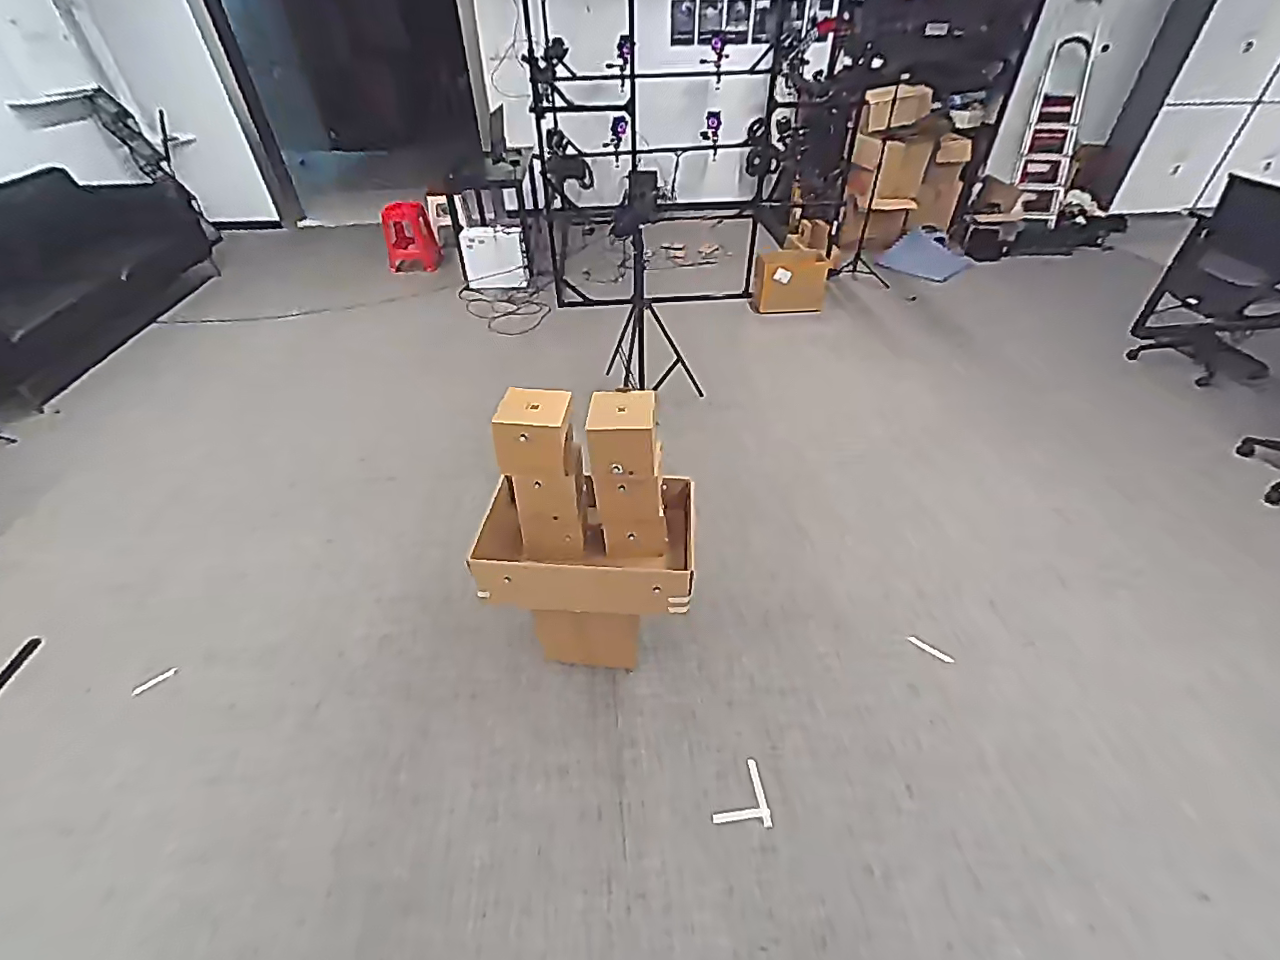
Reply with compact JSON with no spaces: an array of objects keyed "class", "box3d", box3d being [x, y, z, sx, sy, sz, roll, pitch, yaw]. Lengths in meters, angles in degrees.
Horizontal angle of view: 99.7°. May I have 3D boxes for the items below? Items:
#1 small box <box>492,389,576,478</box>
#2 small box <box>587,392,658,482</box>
[{"class":"small box","box3d":[-0.269,-0.120,1.421,0.179,0.176,0.168,4,40,3]},{"class":"small box","box3d":[-0.039,-0.114,1.406,0.168,0.176,0.179,-1,40,4]}]
